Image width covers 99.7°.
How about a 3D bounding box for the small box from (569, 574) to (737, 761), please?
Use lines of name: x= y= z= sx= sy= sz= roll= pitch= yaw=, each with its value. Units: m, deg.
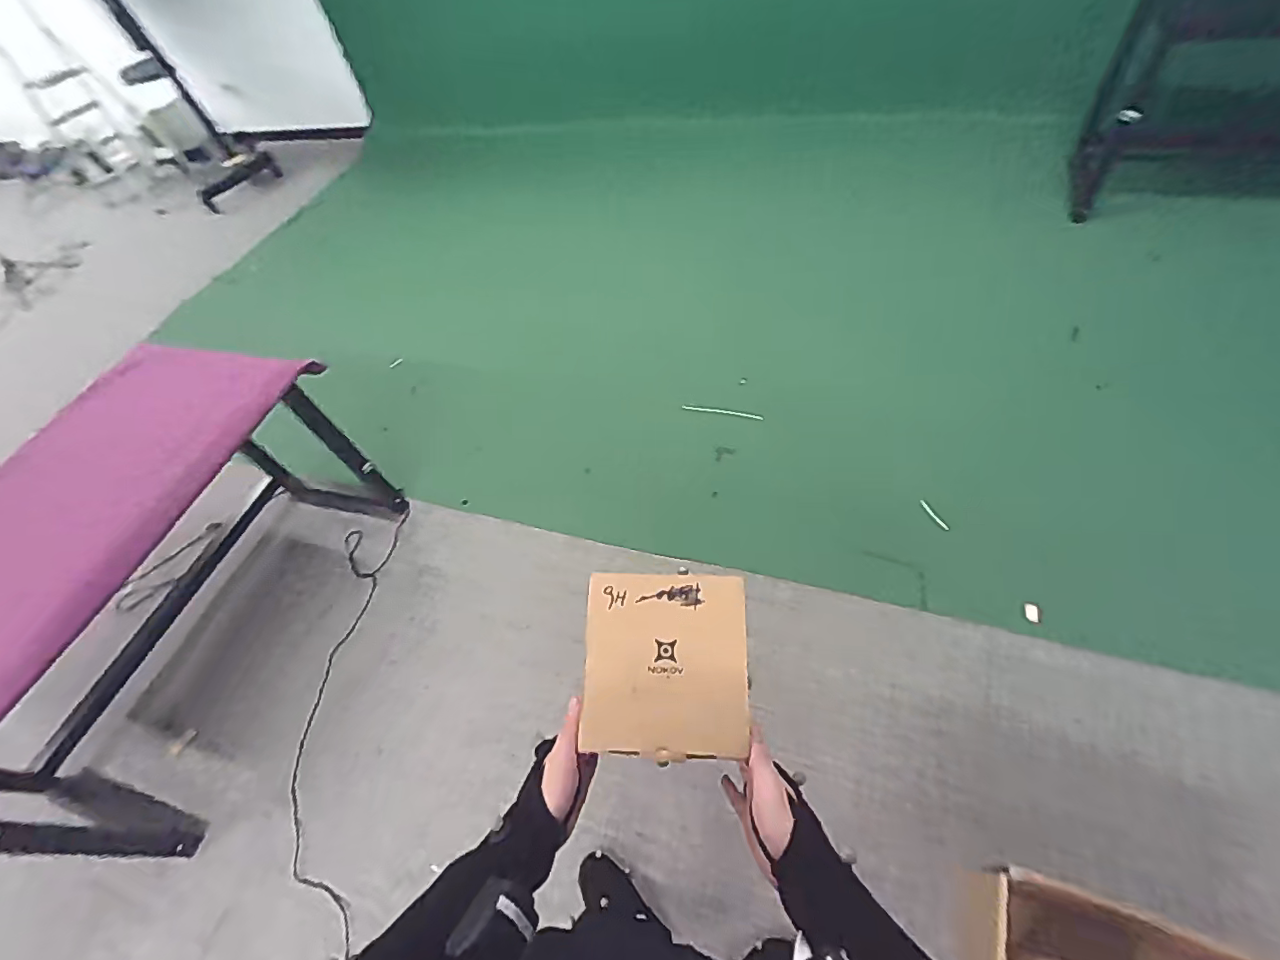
small box: x=0.019 y=0.212 z=0.620 sx=0.168 sy=0.176 sz=0.179 roll=1 pitch=68 yaw=3
